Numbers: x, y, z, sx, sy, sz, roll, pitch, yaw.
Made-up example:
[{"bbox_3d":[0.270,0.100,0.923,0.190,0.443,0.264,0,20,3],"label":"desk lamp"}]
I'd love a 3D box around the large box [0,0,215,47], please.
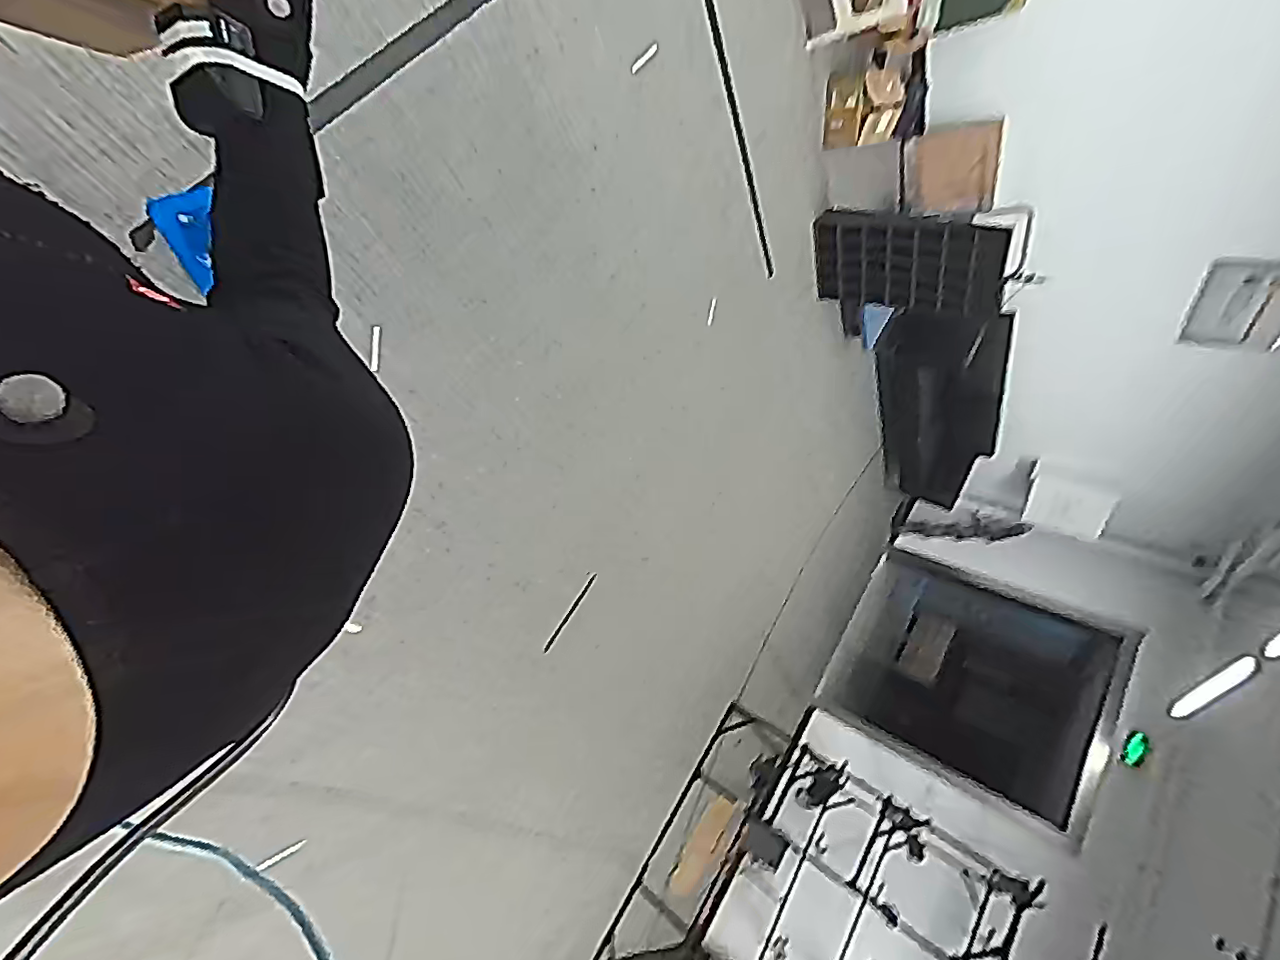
[{"bbox_3d":[-0.525,-0.495,0.274,0.408,0.320,0.320,-16,124,-49],"label":"large box"}]

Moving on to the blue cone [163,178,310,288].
[{"bbox_3d":[-0.748,-0.475,1.058,0.192,0.380,0.193,-40,135,-34],"label":"blue cone"}]
